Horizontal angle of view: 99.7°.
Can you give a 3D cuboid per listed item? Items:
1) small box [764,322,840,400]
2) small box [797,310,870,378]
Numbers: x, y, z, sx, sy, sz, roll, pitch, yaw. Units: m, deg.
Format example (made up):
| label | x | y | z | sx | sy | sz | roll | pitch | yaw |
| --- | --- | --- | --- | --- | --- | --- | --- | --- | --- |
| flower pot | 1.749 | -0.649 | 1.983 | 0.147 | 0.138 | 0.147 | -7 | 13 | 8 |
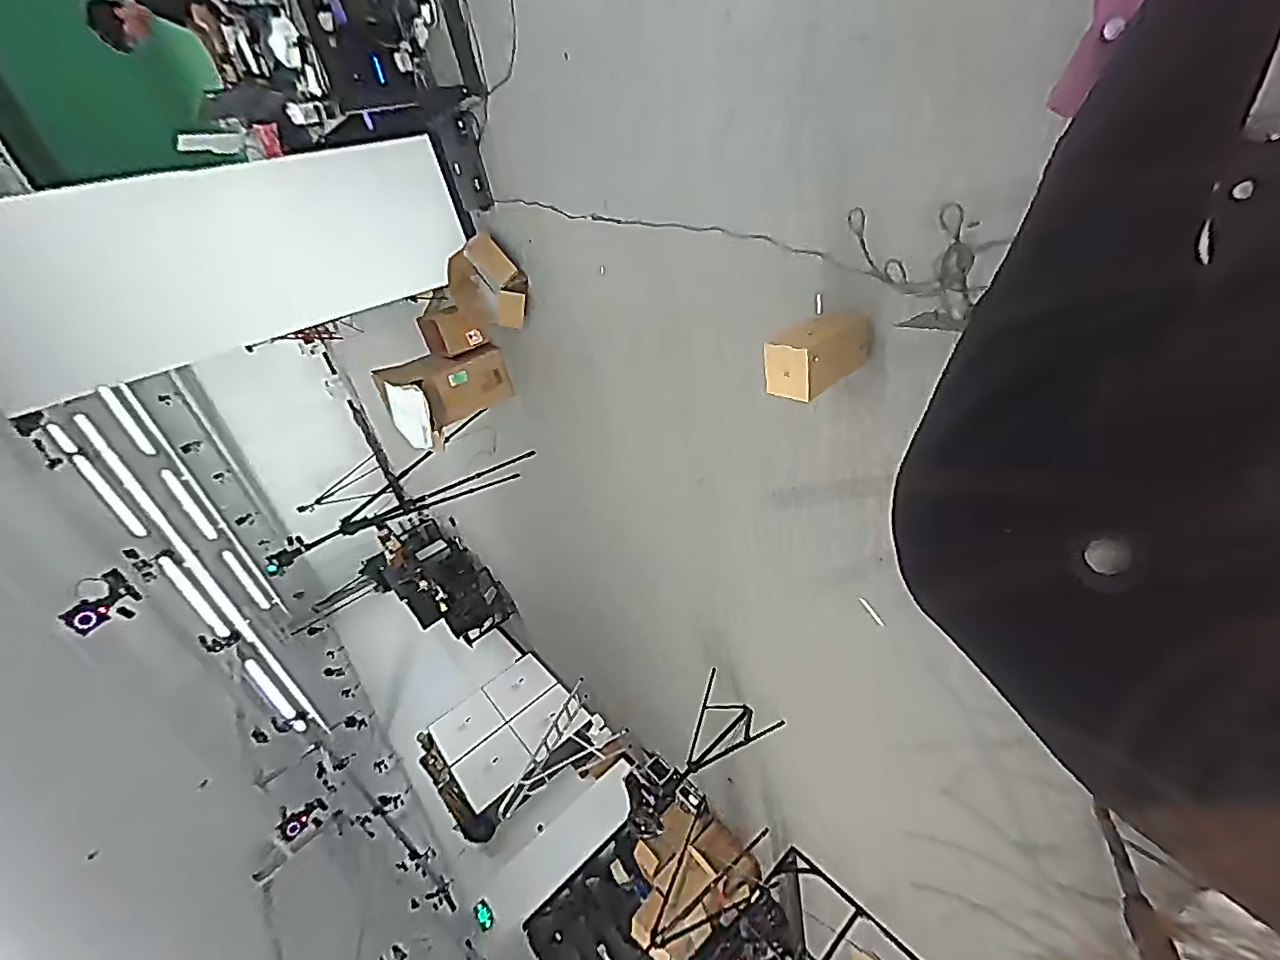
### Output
| label | x | y | z | sx | sy | sz | roll | pitch | yaw |
| --- | --- | --- | --- | --- | --- | --- | --- | --- | --- |
| small box | 0.516 | -0.381 | 1.716 | 0.168 | 0.176 | 0.179 | 26 | 139 | 45 |
| small box | 0.636 | -0.457 | 1.793 | 0.179 | 0.176 | 0.168 | 24 | 138 | 46 |
